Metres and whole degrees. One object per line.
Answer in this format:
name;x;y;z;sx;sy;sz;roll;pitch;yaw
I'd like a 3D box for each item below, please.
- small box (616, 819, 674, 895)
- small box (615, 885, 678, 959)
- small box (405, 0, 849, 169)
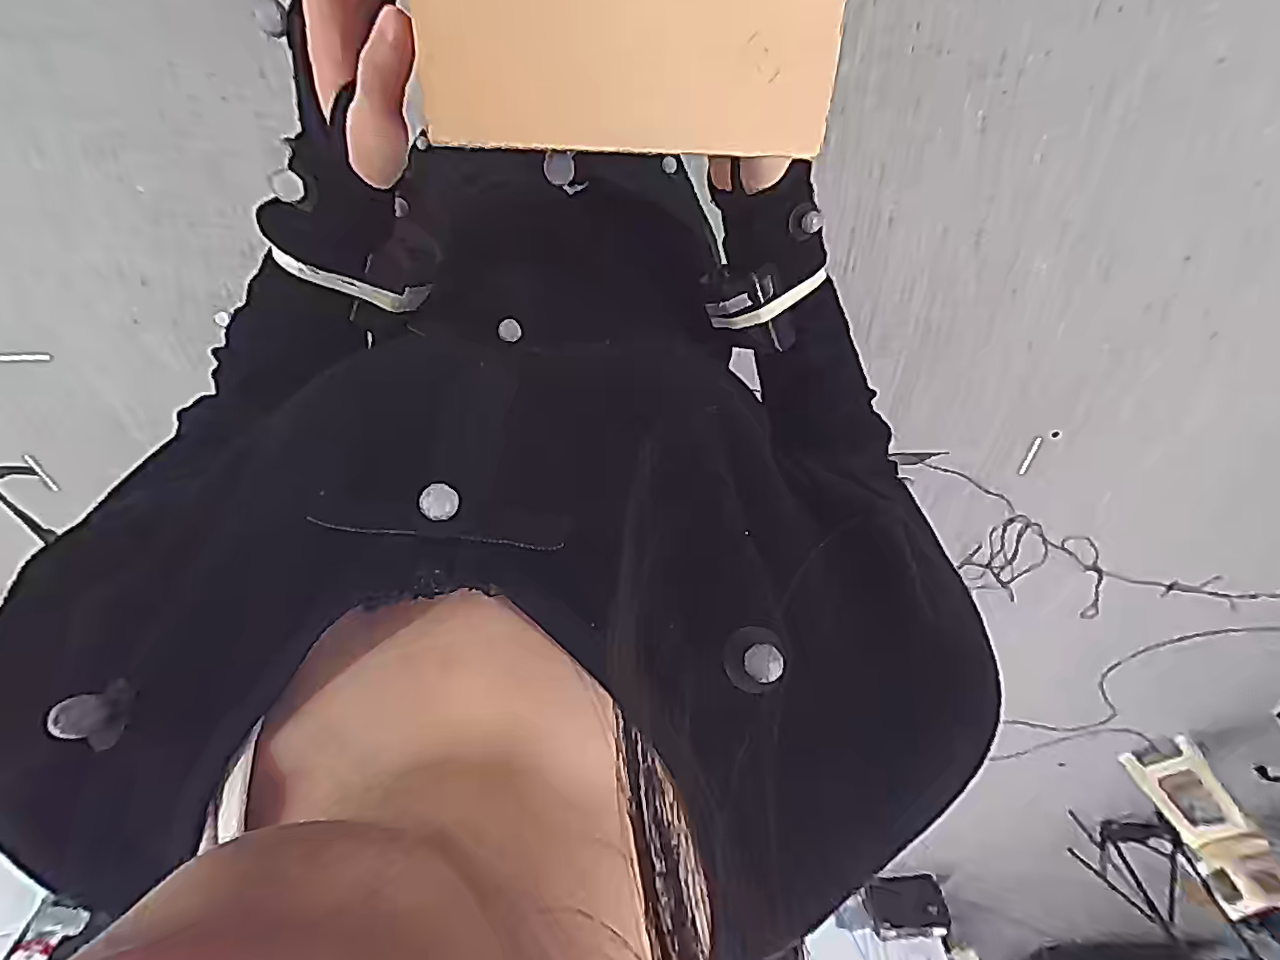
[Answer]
small box;0.013;1.142;1.621;0.168;0.176;0.179;0;128;-1
small box;0.016;1.244;1.492;0.168;0.176;0.179;1;129;-1
small box;-0.018;-0.244;0.240;0.168;0.176;0.179;-7;122;-16
